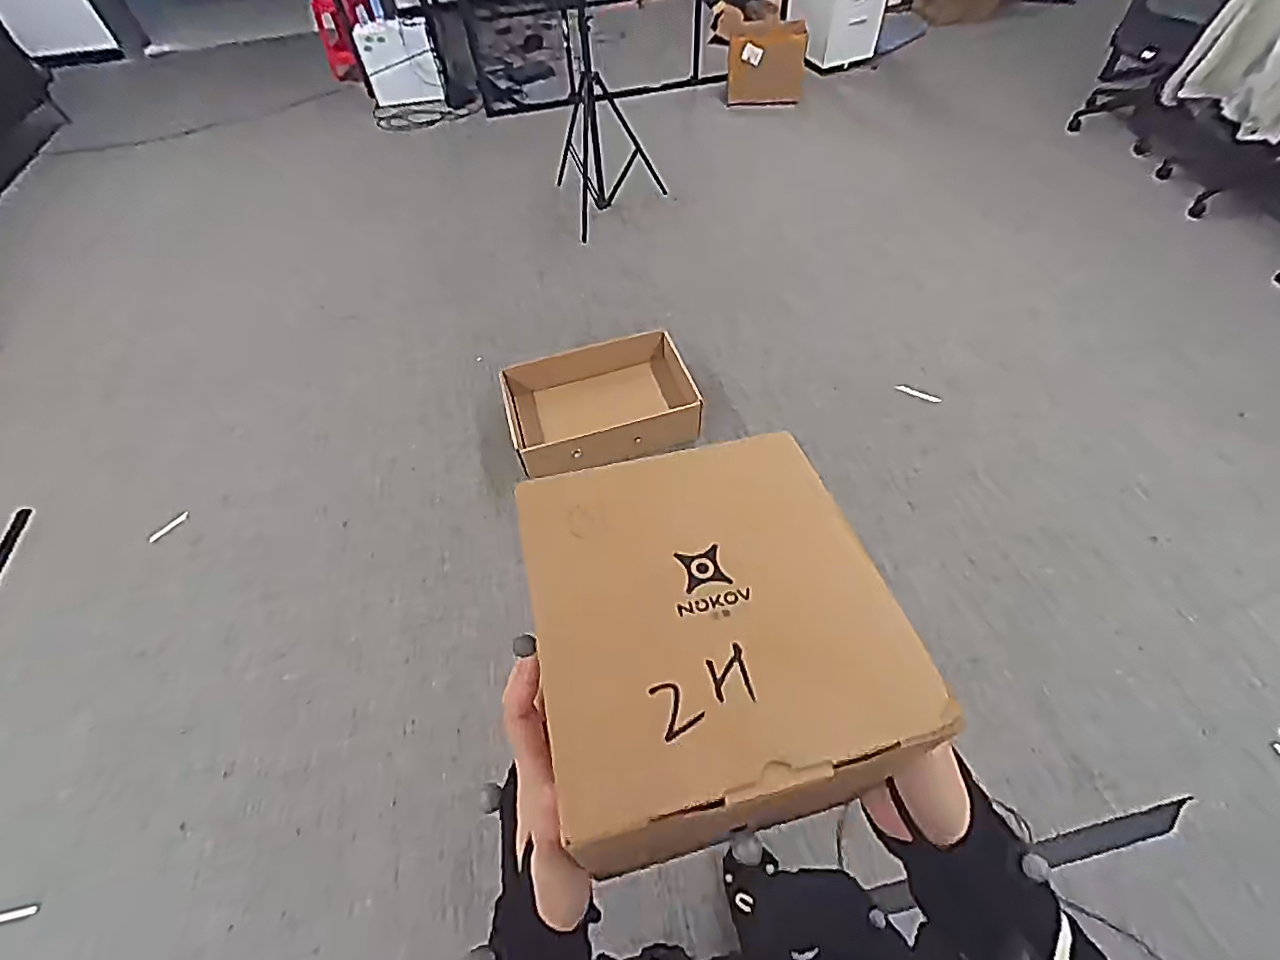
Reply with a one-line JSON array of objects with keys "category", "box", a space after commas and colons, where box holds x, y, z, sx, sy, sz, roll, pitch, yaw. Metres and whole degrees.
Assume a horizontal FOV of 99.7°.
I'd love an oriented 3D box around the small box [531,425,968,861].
[{"category": "small box", "box": [0.036, 0.096, 0.322, 0.168, 0.176, 0.179, -11, 51, -9]}]
